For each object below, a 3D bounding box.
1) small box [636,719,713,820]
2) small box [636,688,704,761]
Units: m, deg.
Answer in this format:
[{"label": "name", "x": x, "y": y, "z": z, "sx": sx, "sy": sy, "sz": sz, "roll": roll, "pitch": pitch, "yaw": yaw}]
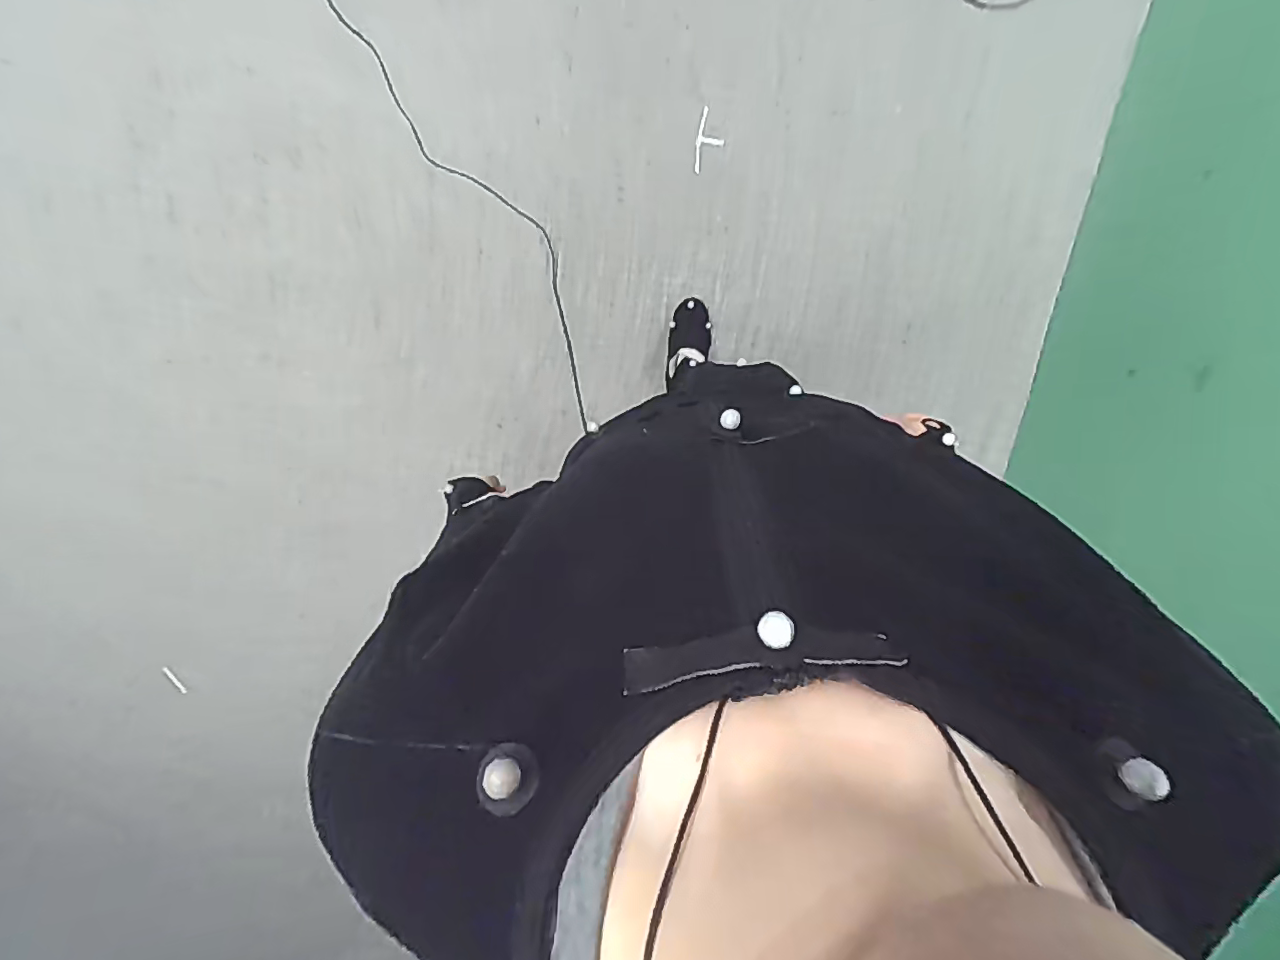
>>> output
[{"label": "small box", "x": 0.082, "y": 0.751, "z": 1.419, "sx": 0.179, "sy": 0.176, "sz": 0.168, "roll": 5, "pitch": 102, "yaw": -3}, {"label": "small box", "x": 0.081, "y": 0.729, "z": 1.581, "sx": 0.179, "sy": 0.176, "sz": 0.168, "roll": 5, "pitch": 102, "yaw": -3}]
